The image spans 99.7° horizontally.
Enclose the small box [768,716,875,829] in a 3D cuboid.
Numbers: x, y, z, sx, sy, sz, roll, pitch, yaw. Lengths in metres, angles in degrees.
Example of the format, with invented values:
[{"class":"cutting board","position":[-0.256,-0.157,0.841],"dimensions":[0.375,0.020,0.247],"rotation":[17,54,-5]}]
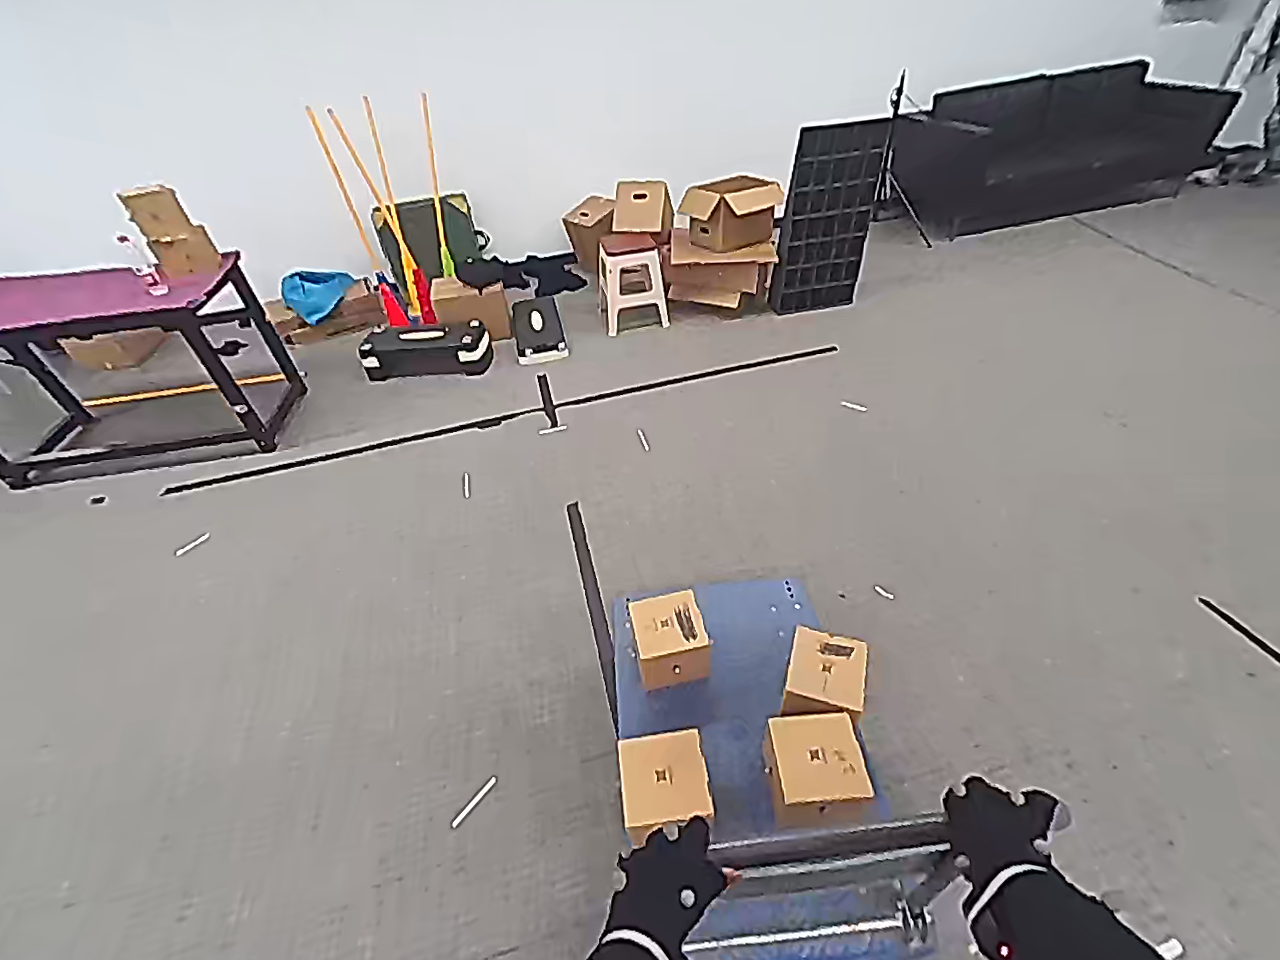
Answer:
[{"class":"small box","position":[0.372,0.623,1.148],"dimensions":[0.179,0.176,0.168],"rotation":[-5,43,2]}]

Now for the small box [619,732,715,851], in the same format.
[{"class":"small box","position":[0.057,0.661,1.145],"dimensions":[0.179,0.176,0.168],"rotation":[-7,42,-3]}]

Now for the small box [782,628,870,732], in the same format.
[{"class":"small box","position":[0.439,0.489,1.288],"dimensions":[0.168,0.176,0.179],"rotation":[10,45,18]}]
